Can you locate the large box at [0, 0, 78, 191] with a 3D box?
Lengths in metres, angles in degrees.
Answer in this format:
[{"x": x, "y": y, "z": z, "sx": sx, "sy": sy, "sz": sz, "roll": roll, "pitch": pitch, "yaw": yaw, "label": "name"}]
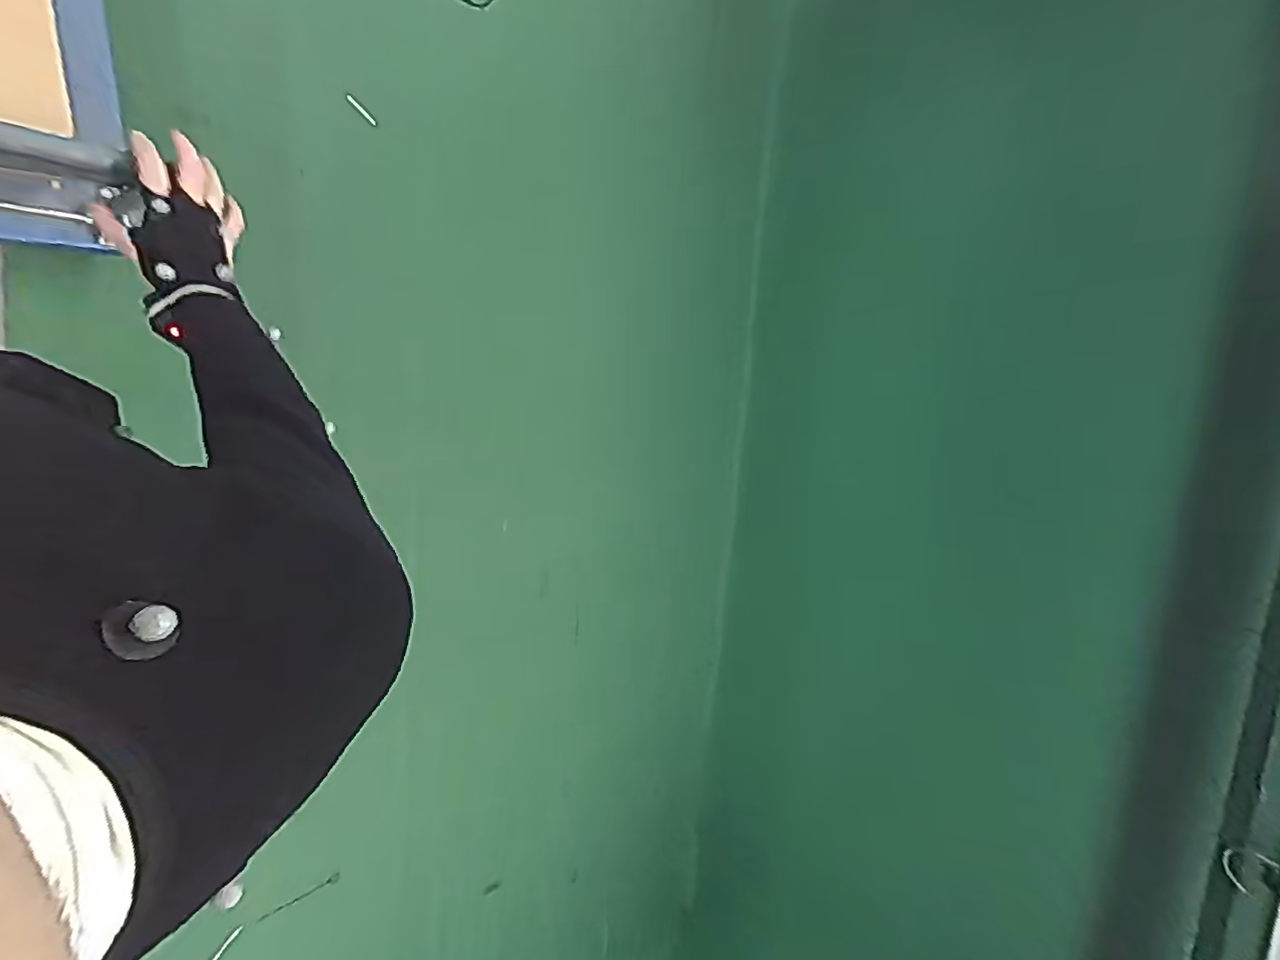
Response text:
[{"x": -1.046, "y": -0.674, "z": 0.739, "sx": 0.320, "sy": 0.320, "sz": 0.408, "roll": -14, "pitch": 106, "yaw": -51, "label": "large box"}]
